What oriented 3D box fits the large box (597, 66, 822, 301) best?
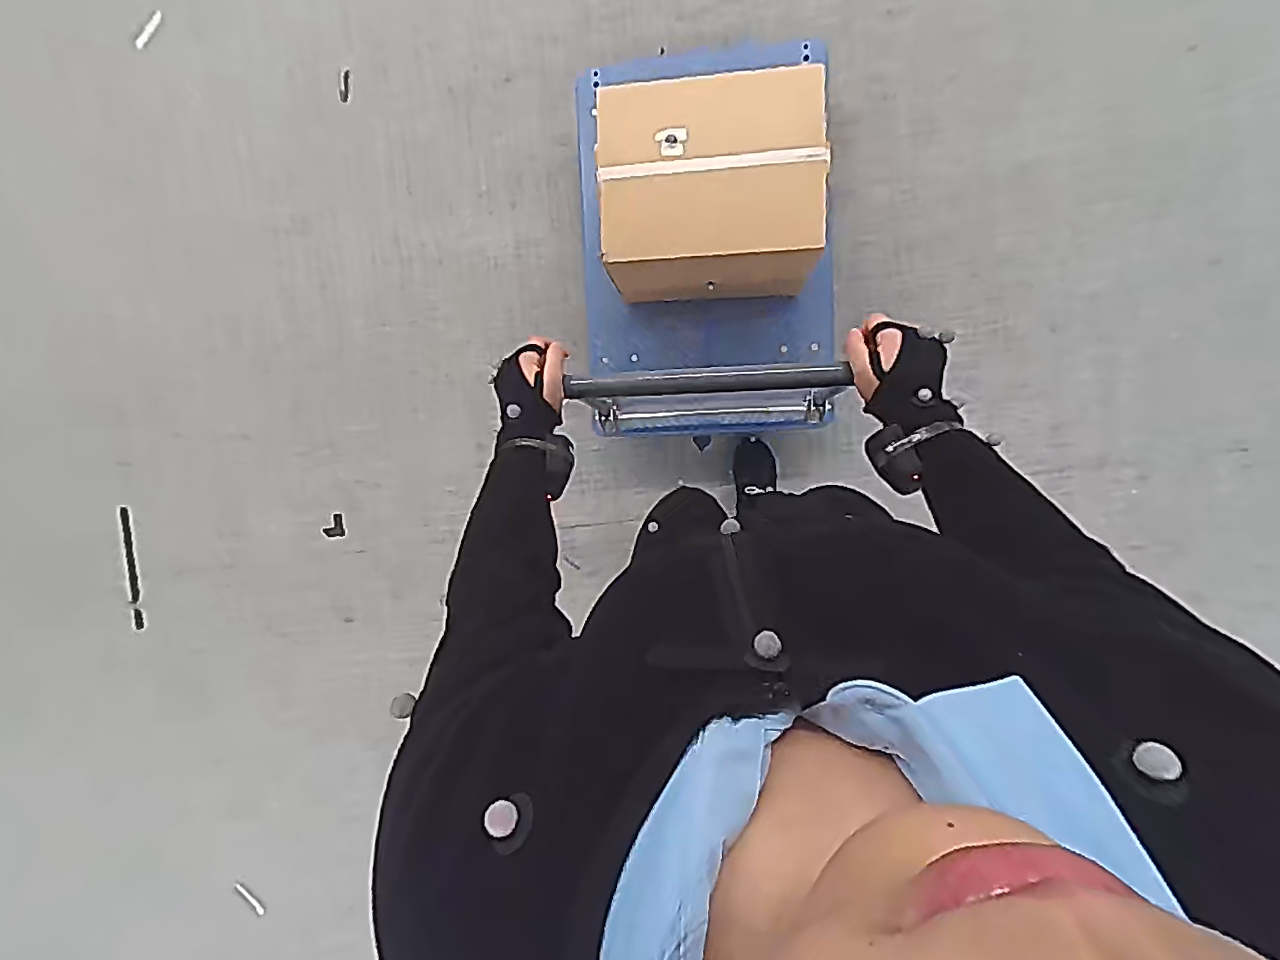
[{"bbox_3d":[0.145,-0.577,1.129,0.408,0.320,0.320,-1,93,8],"label":"large box"}]
